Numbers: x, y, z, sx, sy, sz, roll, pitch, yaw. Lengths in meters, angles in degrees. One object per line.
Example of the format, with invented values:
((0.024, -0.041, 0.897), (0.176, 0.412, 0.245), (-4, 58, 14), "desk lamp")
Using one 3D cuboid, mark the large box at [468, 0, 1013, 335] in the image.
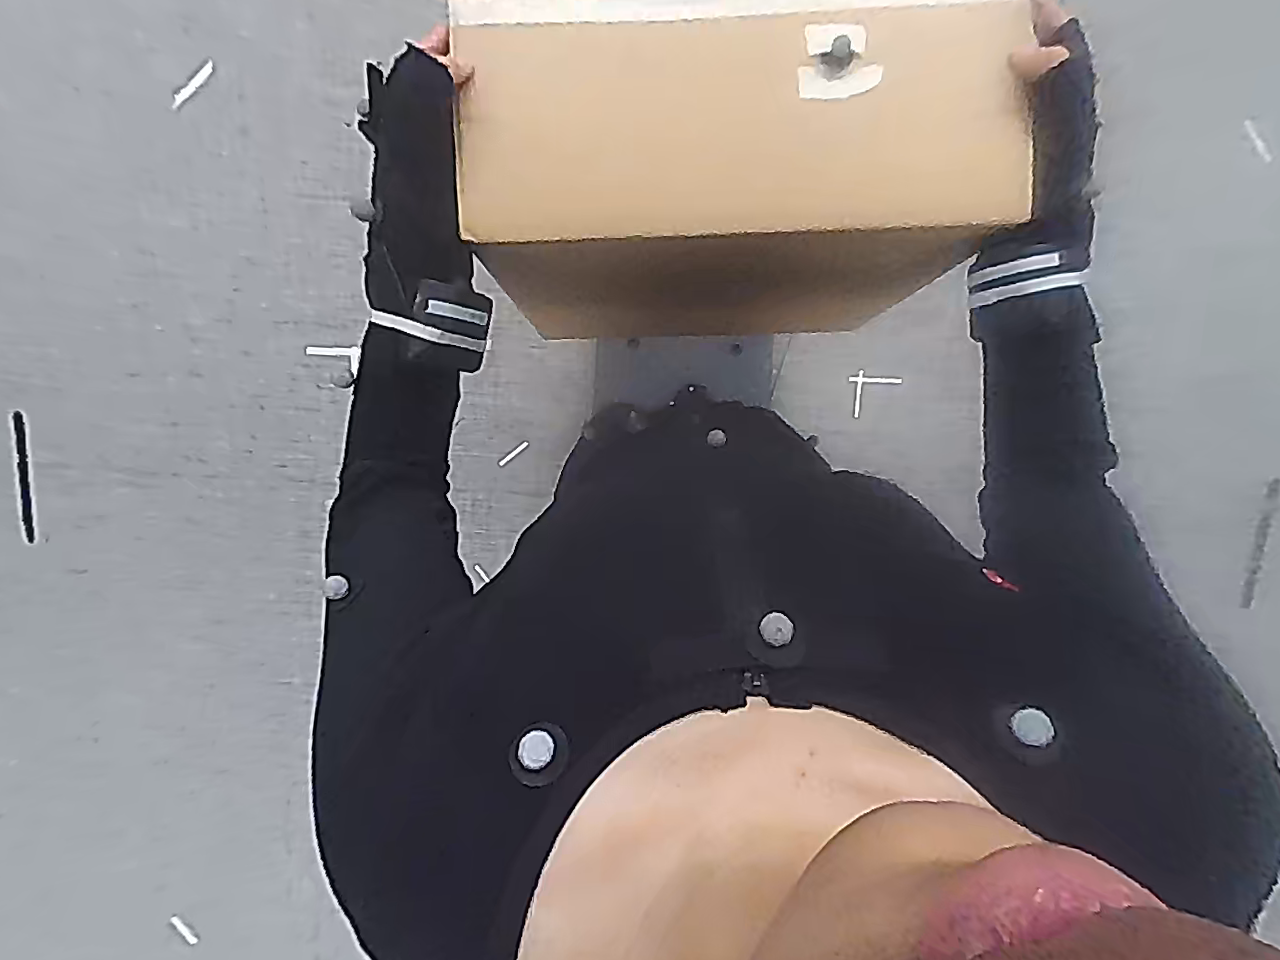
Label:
((0.070, -0.344, 0.545), (0.408, 0.320, 0.320), (-2, 92, 0), "large box")
